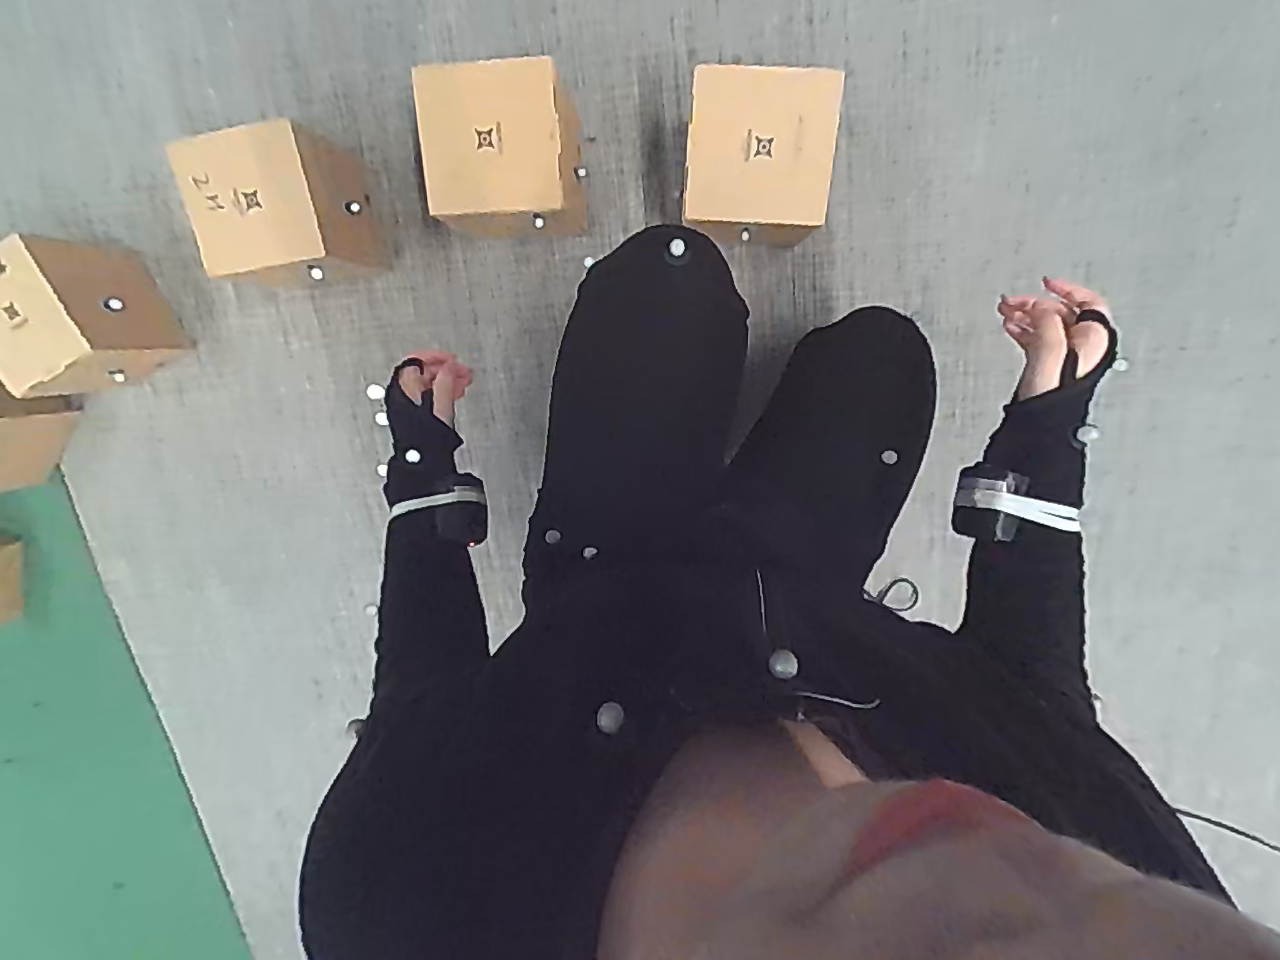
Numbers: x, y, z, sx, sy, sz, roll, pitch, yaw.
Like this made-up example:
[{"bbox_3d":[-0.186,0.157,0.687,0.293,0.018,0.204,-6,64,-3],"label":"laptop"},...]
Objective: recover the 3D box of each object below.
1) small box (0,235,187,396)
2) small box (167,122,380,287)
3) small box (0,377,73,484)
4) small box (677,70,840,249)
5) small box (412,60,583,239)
[{"bbox_3d":[-0.873,-0.250,0.840,0.168,0.176,0.179,-23,102,10],"label":"small box"},{"bbox_3d":[-0.501,-0.380,0.776,0.179,0.176,0.168,-7,103,6],"label":"small box"},{"bbox_3d":[-1.122,-0.095,0.899,0.168,0.176,0.179,39,103,-6],"label":"small box"},{"bbox_3d":[0.144,-0.410,0.721,0.179,0.176,0.168,5,106,2],"label":"small box"},{"bbox_3d":[-0.182,-0.434,0.740,0.179,0.176,0.168,-1,104,4],"label":"small box"}]
